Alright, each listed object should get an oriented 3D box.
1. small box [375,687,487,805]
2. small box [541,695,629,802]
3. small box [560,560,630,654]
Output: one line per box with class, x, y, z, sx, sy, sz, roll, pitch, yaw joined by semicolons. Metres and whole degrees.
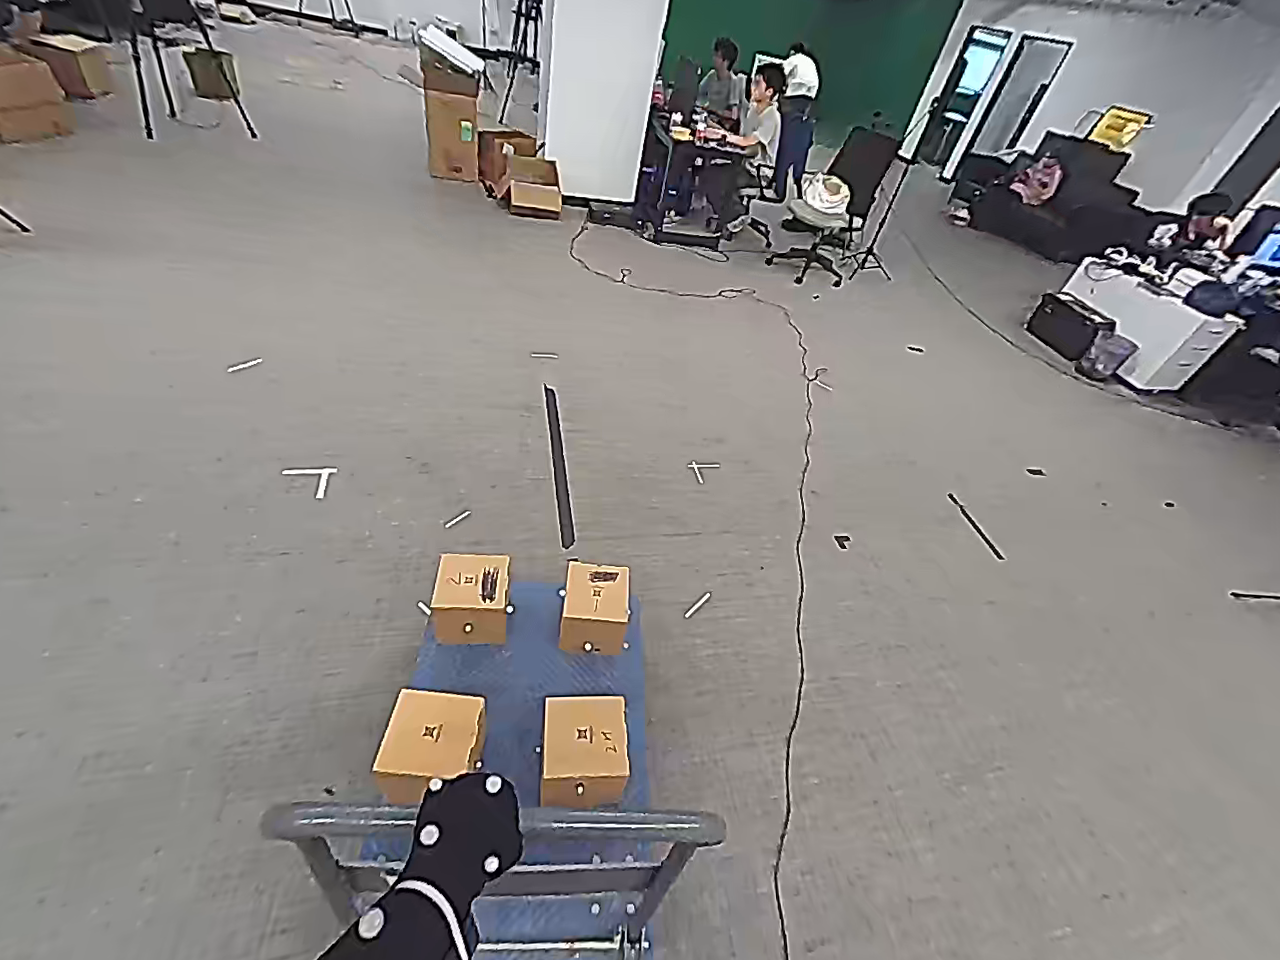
small box;-0.429;0.562;1.137;0.179;0.176;0.168;9;41;-7
small box;-0.125;0.590;1.185;0.179;0.176;0.168;4;42;-10
small box;-0.122;0.344;1.458;0.168;0.176;0.179;7;43;-7
